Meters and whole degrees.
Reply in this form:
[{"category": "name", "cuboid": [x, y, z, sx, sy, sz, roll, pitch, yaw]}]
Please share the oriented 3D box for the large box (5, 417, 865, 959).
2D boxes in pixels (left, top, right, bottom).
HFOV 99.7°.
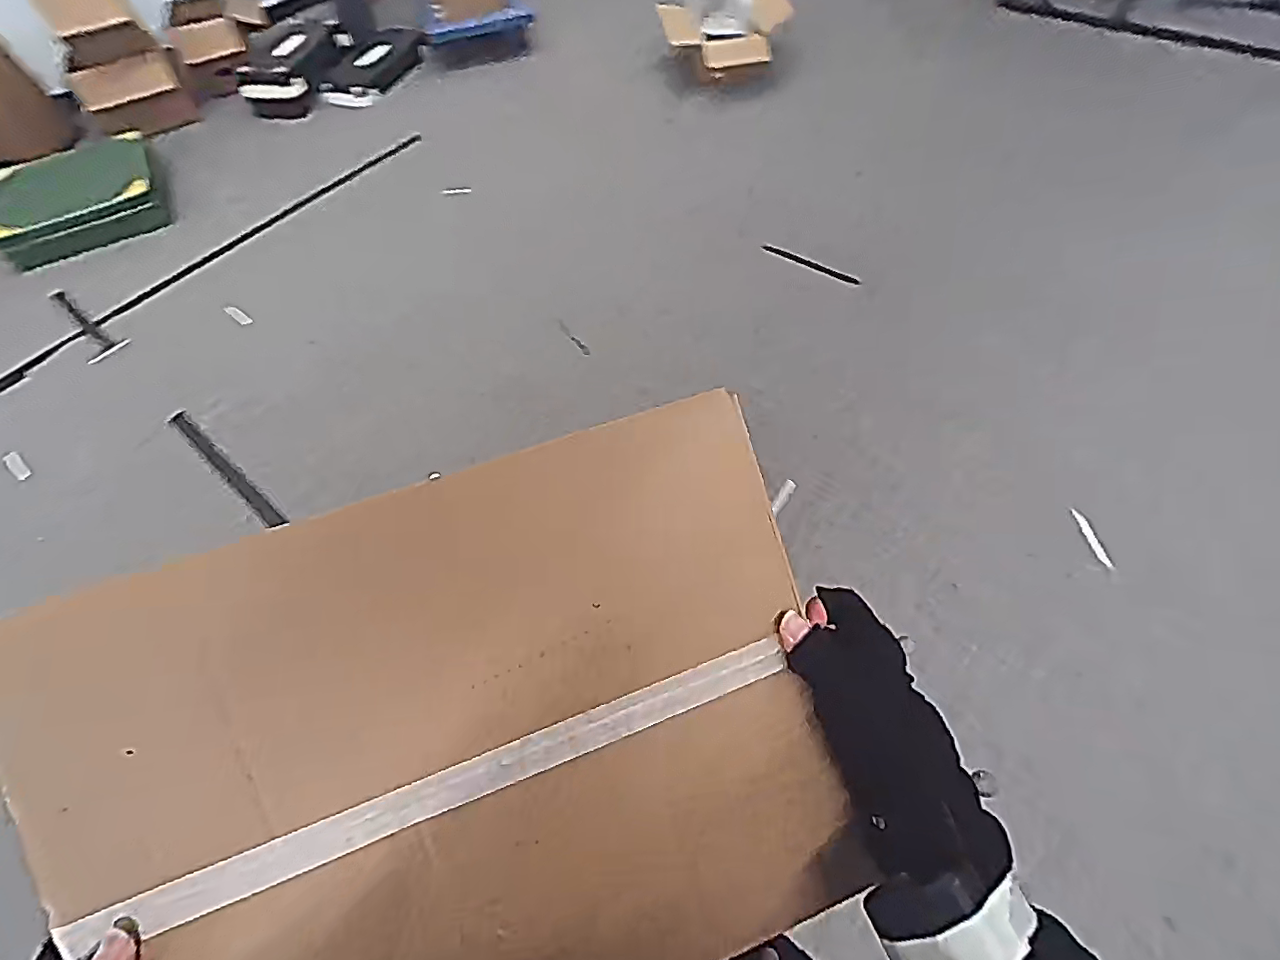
[{"category": "large box", "cuboid": [-0.109, 0.166, 0.453, 0.408, 0.320, 0.320, -18, 92, -9]}]
